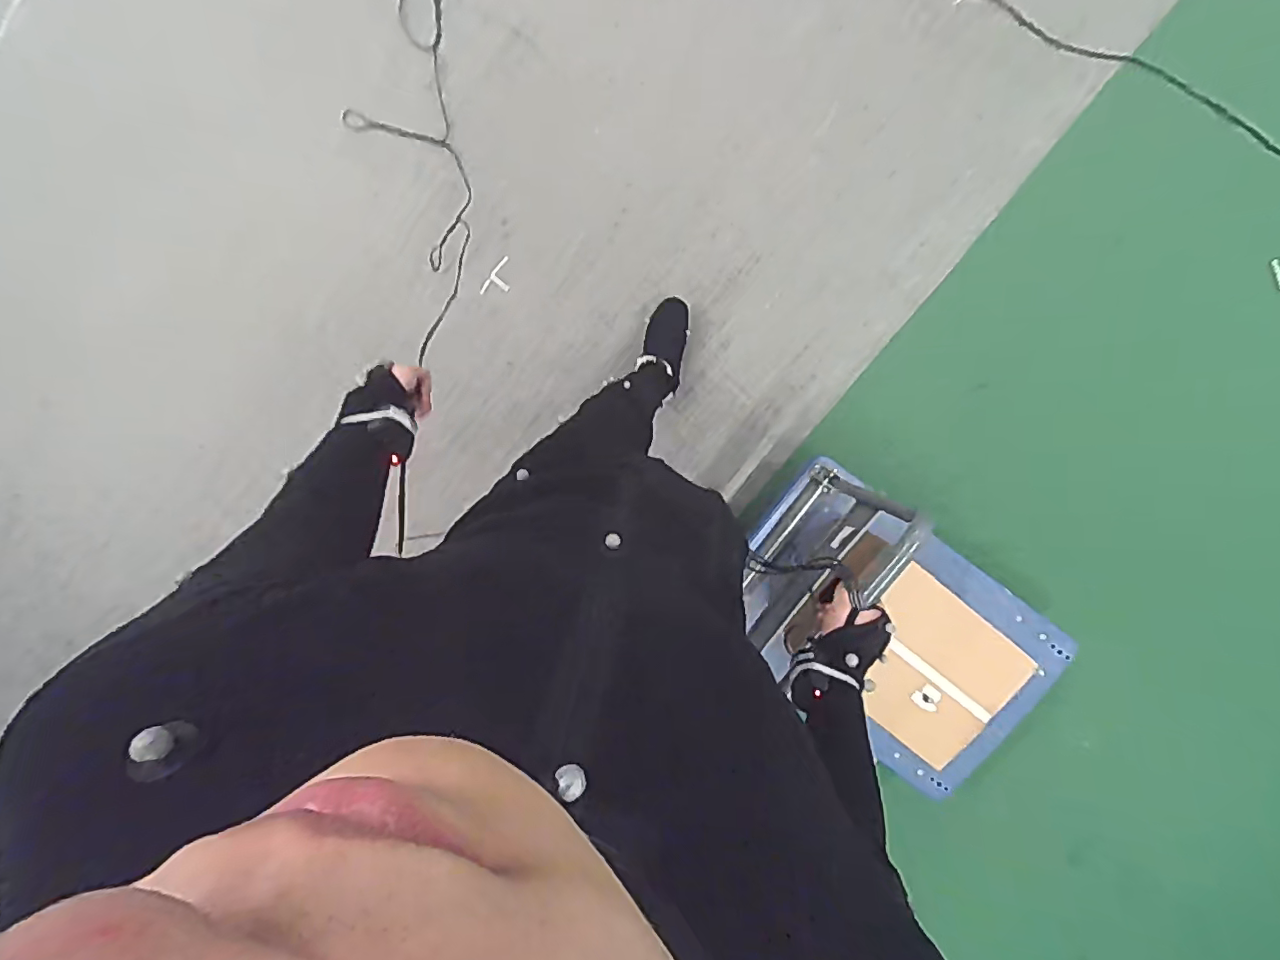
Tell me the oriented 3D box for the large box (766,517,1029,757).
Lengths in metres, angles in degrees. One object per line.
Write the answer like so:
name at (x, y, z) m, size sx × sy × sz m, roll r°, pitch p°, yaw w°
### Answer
large box at (0.574, 0.347, 1.289) m, size 0.408 × 0.320 × 0.320 m, roll 39°, pitch 98°, yaw -4°
